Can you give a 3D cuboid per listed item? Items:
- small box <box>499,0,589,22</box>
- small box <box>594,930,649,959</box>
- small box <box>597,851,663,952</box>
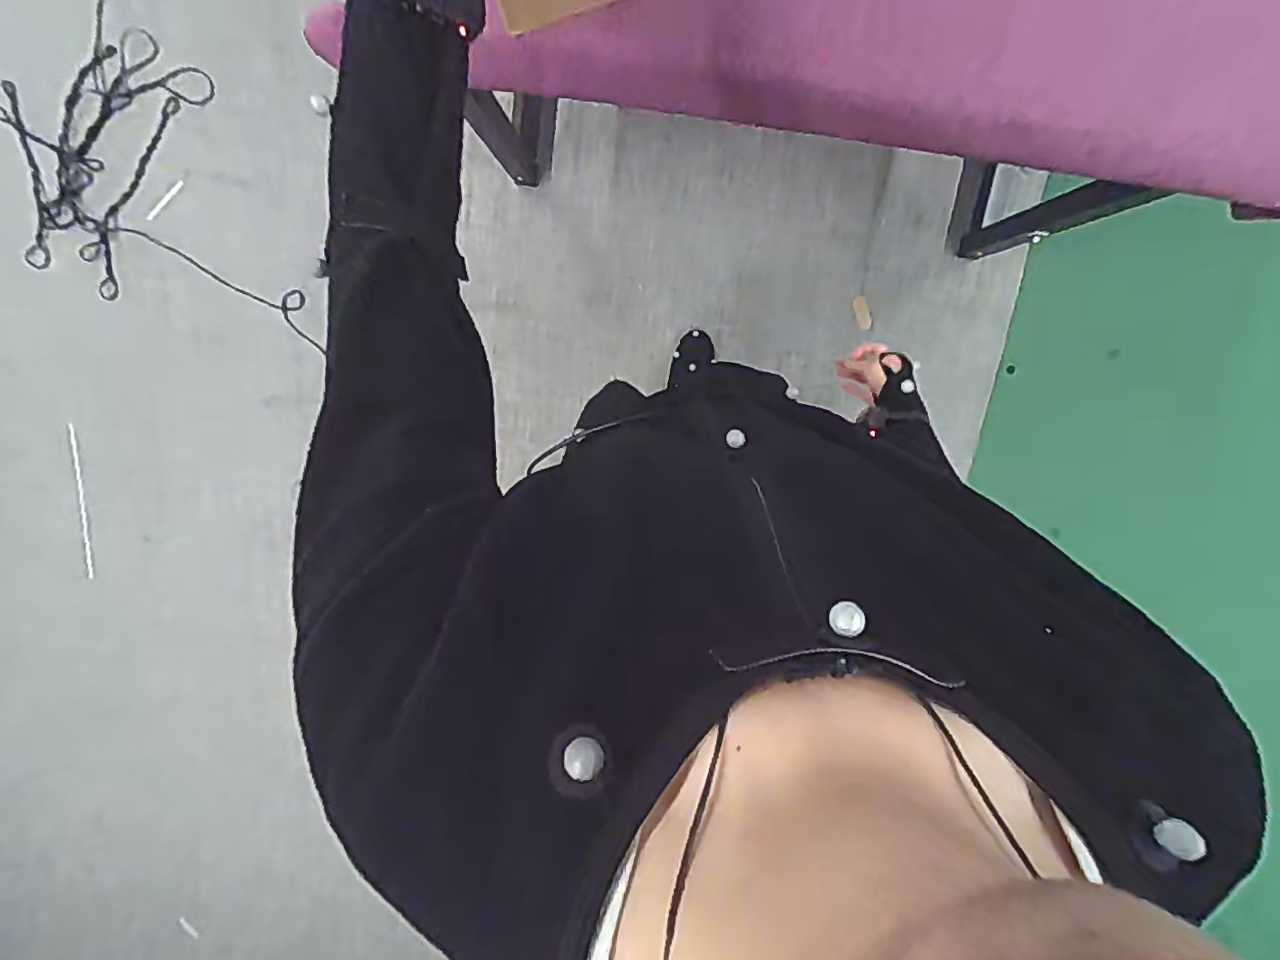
[{"bbox_3d":[-0.099,-0.627,0.553,0.179,0.176,0.168,-16,101,5],"label":"small box"},{"bbox_3d":[-0.064,1.566,1.747,0.168,0.176,0.179,9,103,0],"label":"small box"},{"bbox_3d":[-0.030,1.309,1.689,0.168,0.176,0.179,13,102,0],"label":"small box"}]
